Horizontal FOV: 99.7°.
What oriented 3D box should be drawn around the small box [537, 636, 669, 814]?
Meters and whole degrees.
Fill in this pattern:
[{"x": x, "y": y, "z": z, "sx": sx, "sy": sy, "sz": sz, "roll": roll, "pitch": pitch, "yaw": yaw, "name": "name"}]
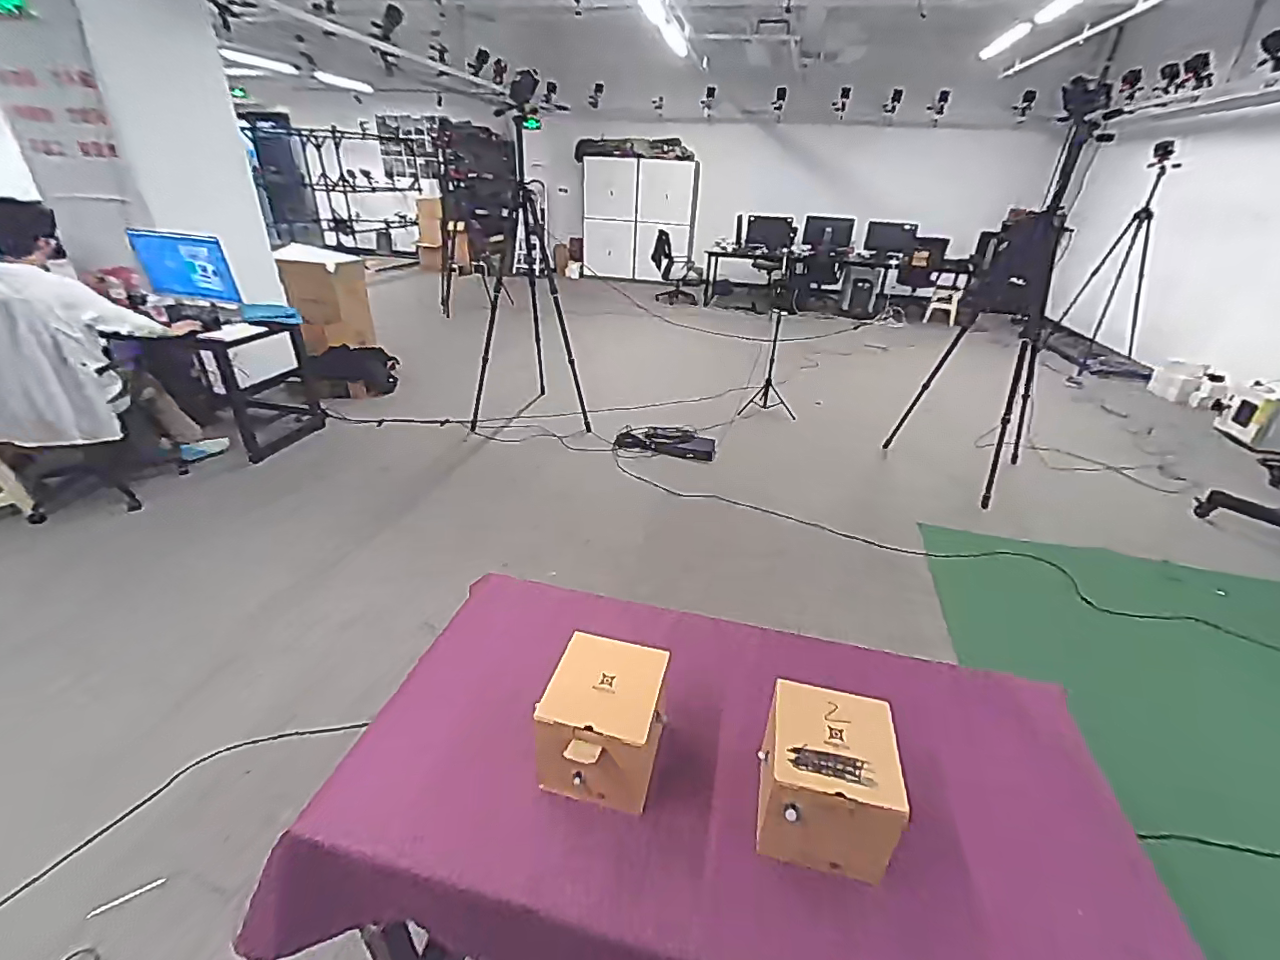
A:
[{"x": -0.055, "y": 0.389, "z": 0.872, "sx": 0.168, "sy": 0.176, "sz": 0.179, "roll": 9, "pitch": 30, "yaw": 11, "name": "small box"}]
